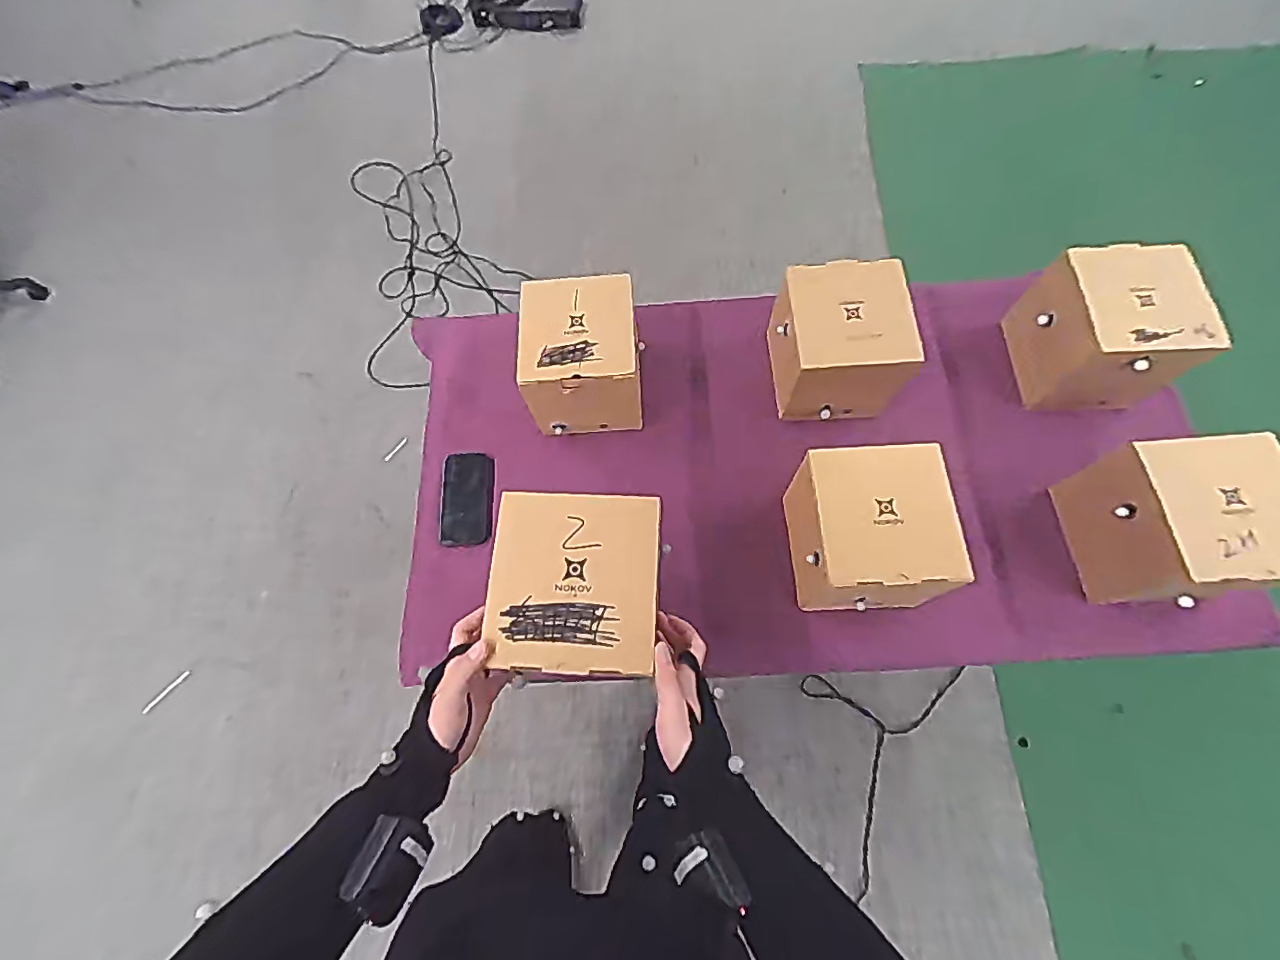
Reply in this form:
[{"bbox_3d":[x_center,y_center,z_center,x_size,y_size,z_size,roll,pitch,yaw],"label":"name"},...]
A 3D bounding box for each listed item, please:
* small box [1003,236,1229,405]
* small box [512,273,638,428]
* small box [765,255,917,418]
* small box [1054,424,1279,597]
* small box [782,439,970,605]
[{"bbox_3d":[0.680,-0.230,0.804,0.168,0.176,0.179,-2,69,4],"label":"small box"},{"bbox_3d":[-0.092,-0.189,0.838,0.168,0.176,0.179,-4,69,2],"label":"small box"},{"bbox_3d":[0.290,-0.211,0.824,0.168,0.176,0.179,-3,70,3],"label":"small box"},{"bbox_3d":[0.686,0.047,0.695,0.168,0.176,0.179,-5,69,4],"label":"small box"},{"bbox_3d":[0.294,0.062,0.720,0.168,0.176,0.179,-3,69,2],"label":"small box"}]
